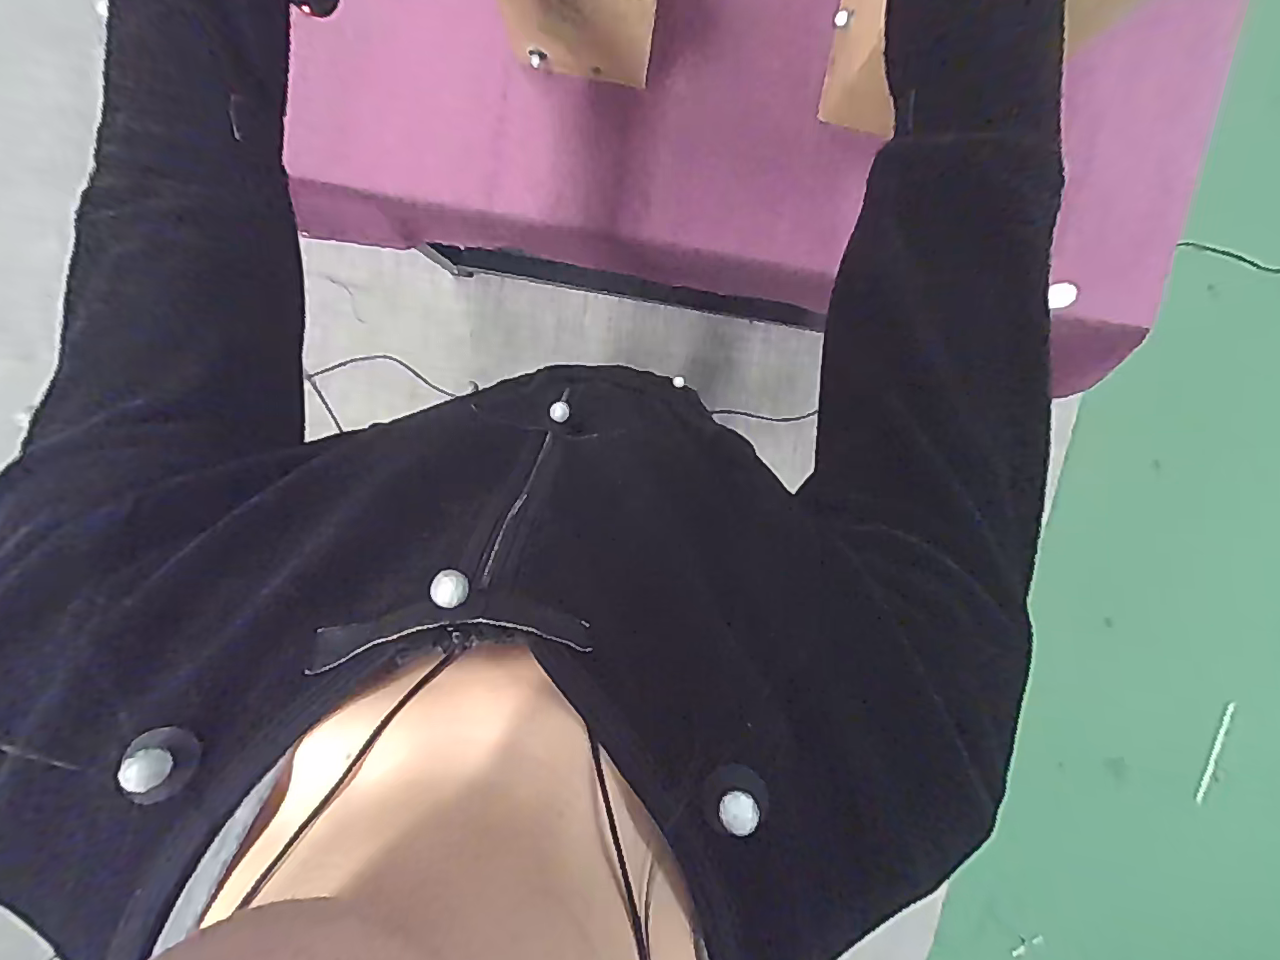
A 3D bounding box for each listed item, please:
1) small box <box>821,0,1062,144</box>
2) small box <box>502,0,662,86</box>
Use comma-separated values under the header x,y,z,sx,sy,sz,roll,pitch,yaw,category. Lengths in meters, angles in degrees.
x,y,z,sx,sy,sz,roll,pitch,yaw,category
0.335,-0.513,0.612,0.179,0.176,0.168,10,99,-5,small box
-0.053,-0.573,0.584,0.168,0.176,0.179,8,98,-5,small box
